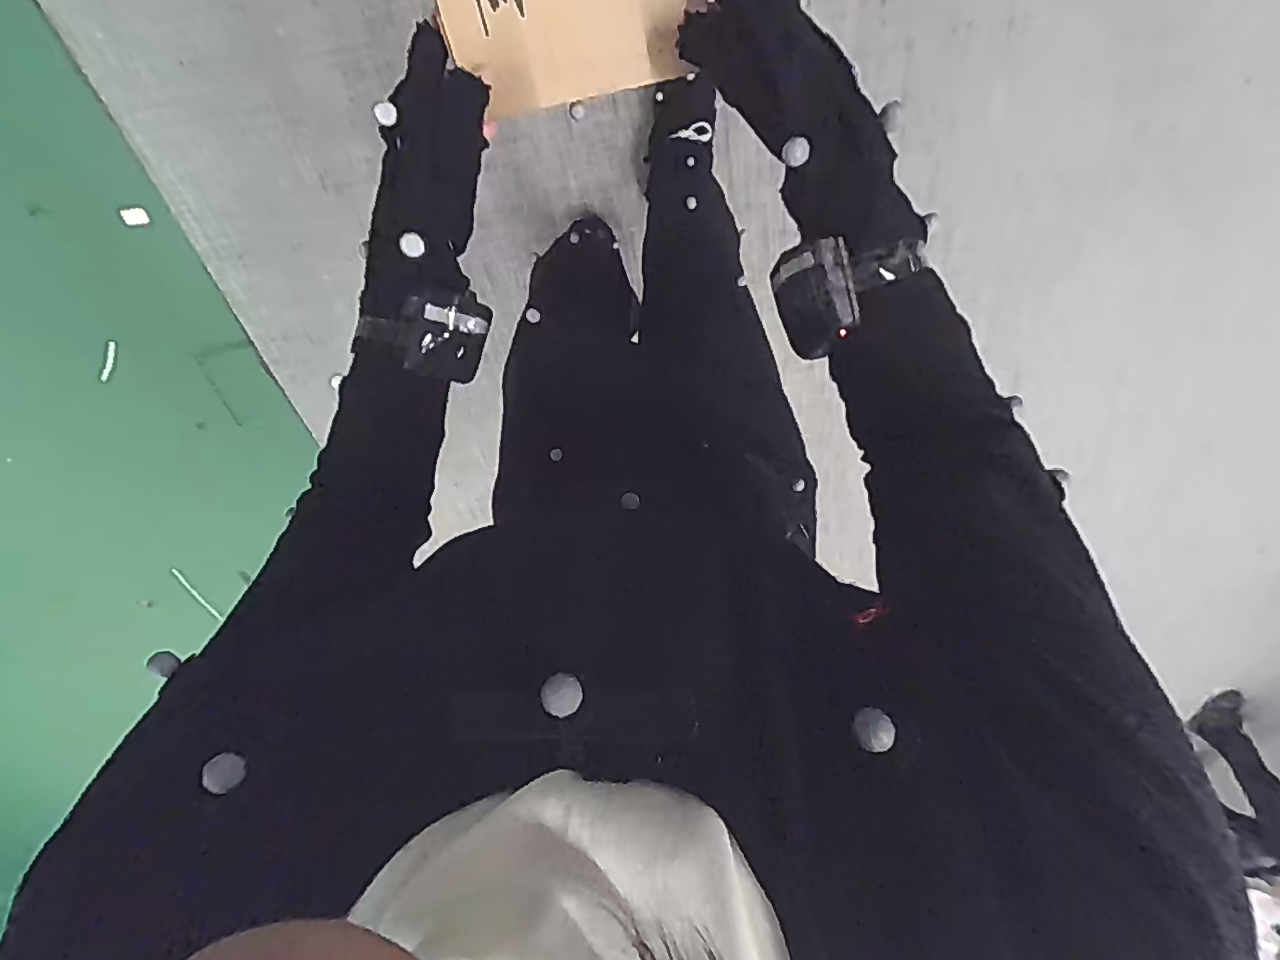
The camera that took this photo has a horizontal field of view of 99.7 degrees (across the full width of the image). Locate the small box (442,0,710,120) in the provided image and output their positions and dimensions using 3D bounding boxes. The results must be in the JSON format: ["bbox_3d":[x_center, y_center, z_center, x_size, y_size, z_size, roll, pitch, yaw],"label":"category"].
[{"bbox_3d":[-0.051,-0.387,0.409,0.179,0.176,0.168,-10,127,4],"label":"small box"}]
